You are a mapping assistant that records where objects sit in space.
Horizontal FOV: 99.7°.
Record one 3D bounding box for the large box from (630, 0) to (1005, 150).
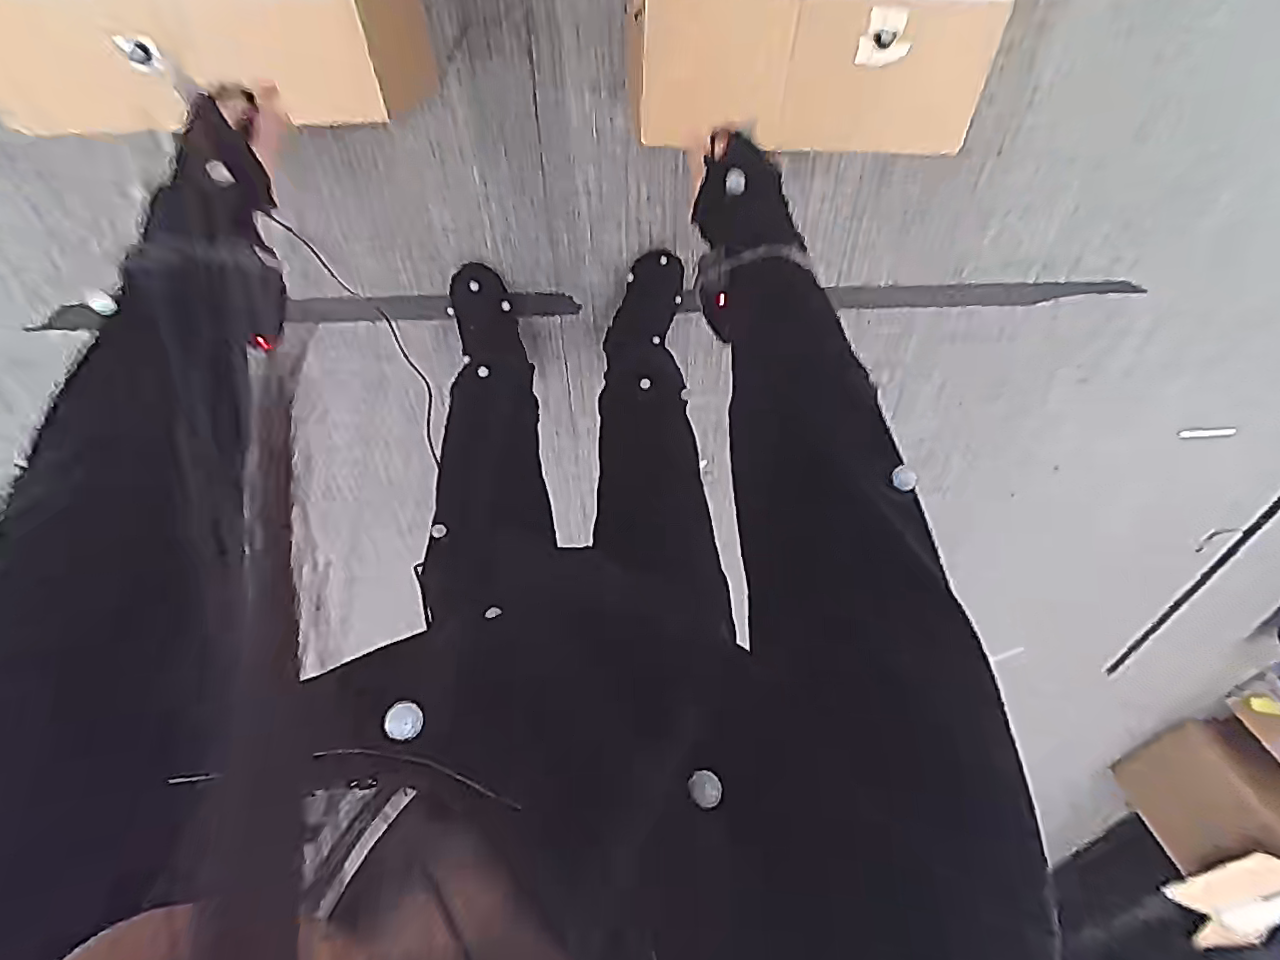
[{"bbox_3d":[0.196,-0.629,0.697,0.408,0.320,0.320,-1,129,-6],"label":"large box"}]
